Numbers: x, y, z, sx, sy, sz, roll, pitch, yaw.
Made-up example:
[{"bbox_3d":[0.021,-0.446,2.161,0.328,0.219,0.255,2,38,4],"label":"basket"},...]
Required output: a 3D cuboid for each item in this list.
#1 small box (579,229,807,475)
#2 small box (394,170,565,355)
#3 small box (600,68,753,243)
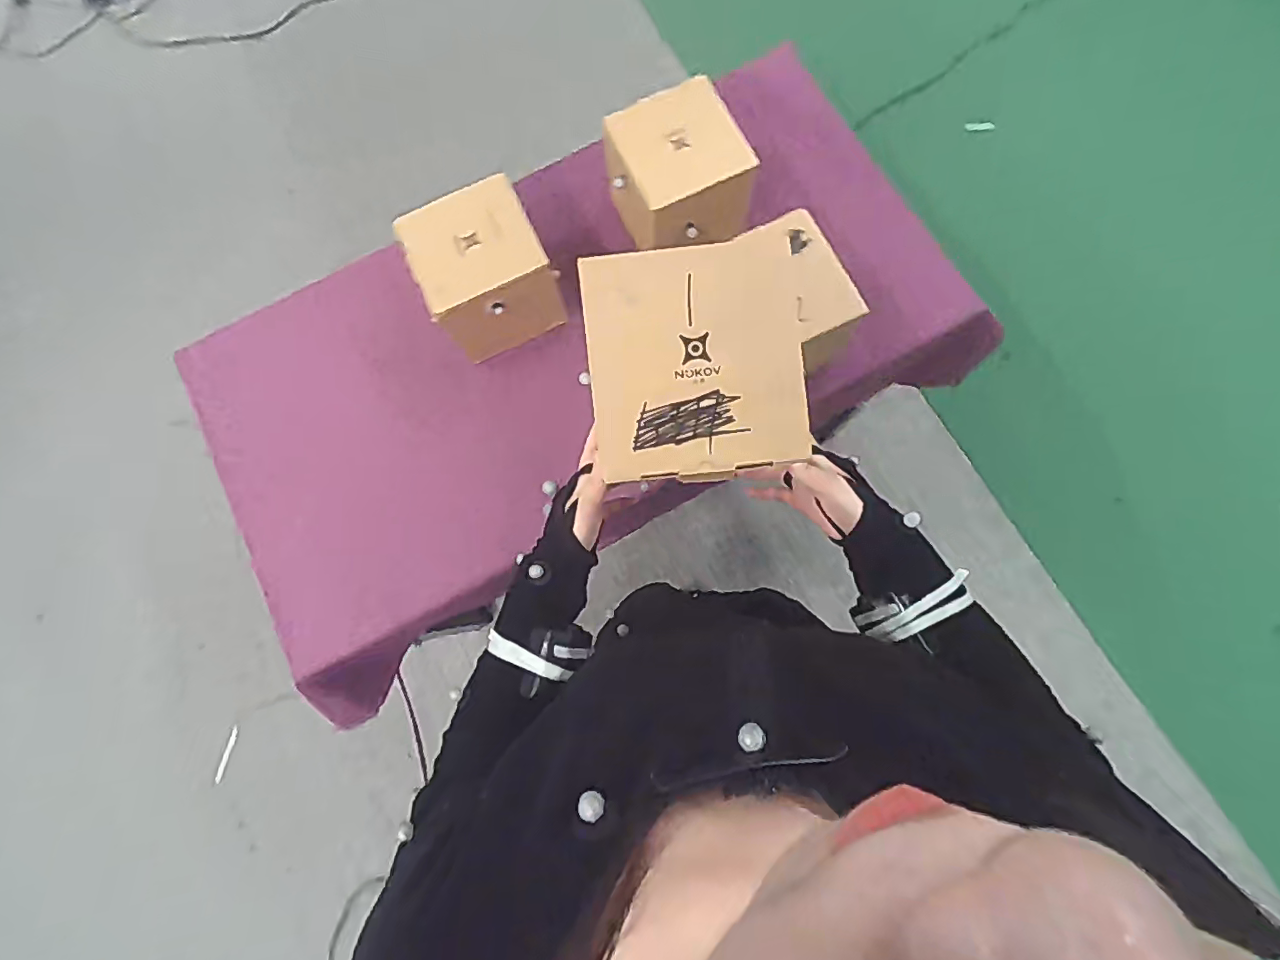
[{"bbox_3d":[0.043,-0.100,0.492,0.168,0.176,0.179,-5,91,1],"label":"small box"},{"bbox_3d":[-0.234,-0.319,0.828,0.179,0.176,0.168,-25,79,-2],"label":"small box"},{"bbox_3d":[0.057,-0.469,0.839,0.168,0.176,0.179,-26,77,-1],"label":"small box"}]
